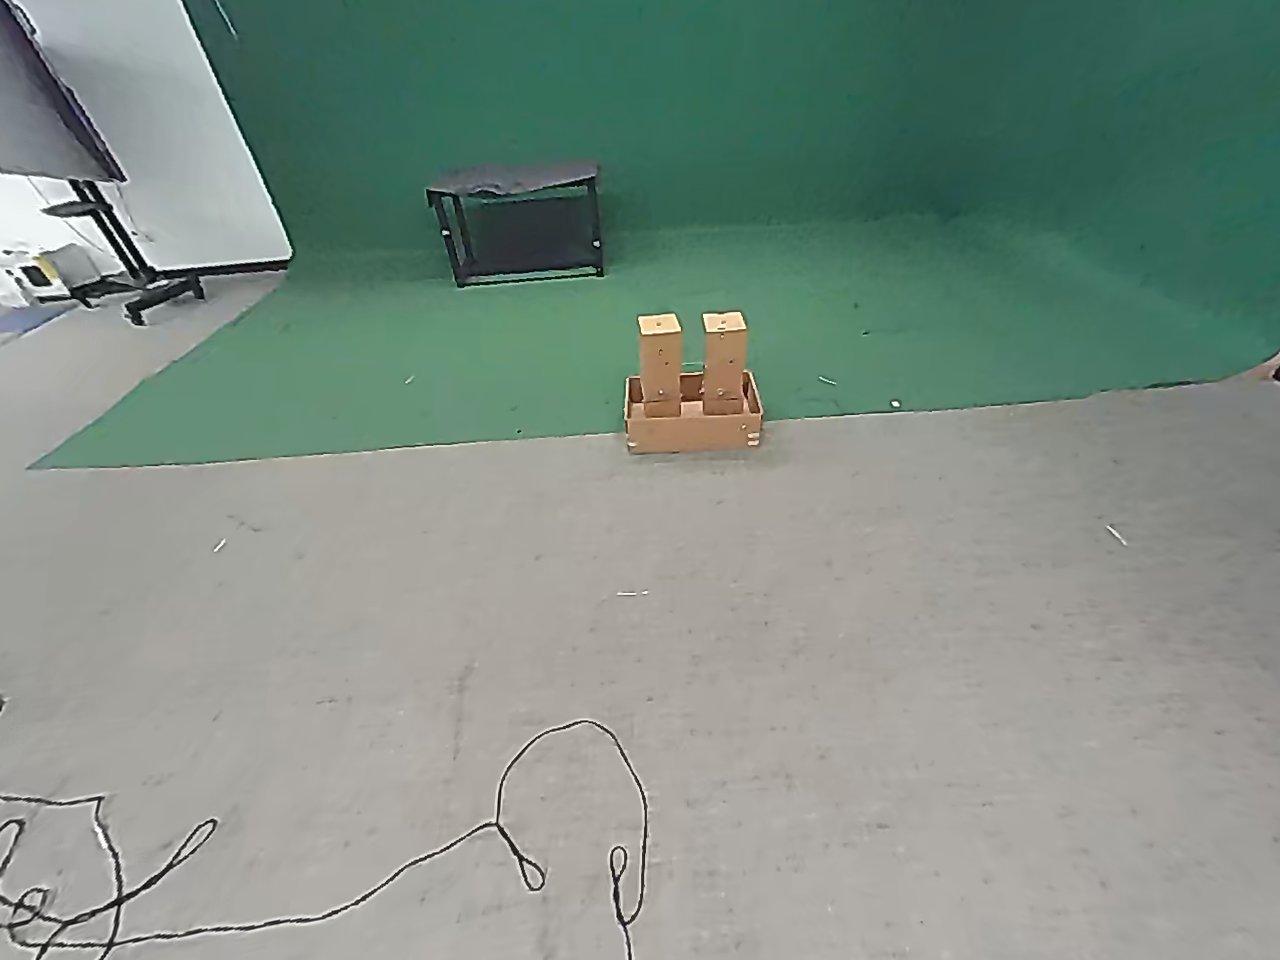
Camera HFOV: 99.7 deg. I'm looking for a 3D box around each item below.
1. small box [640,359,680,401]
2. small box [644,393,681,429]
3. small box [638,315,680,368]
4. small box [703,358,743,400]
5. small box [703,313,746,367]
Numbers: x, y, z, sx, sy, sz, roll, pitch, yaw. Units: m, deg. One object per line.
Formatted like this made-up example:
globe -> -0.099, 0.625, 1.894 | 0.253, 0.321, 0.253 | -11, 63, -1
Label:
small box -> 0.088, -0.479, 2.471 | 0.168, 0.176, 0.179 | -6, 42, -3
small box -> 0.103, -0.362, 2.587 | 0.168, 0.176, 0.179 | -5, 41, -1
small box -> 0.083, -0.602, 2.362 | 0.168, 0.176, 0.179 | -5, 41, -3
small box -> 0.372, -0.478, 2.445 | 0.168, 0.176, 0.179 | -3, 42, 5
small box -> 0.360, -0.603, 2.338 | 0.168, 0.176, 0.179 | -4, 40, 2
